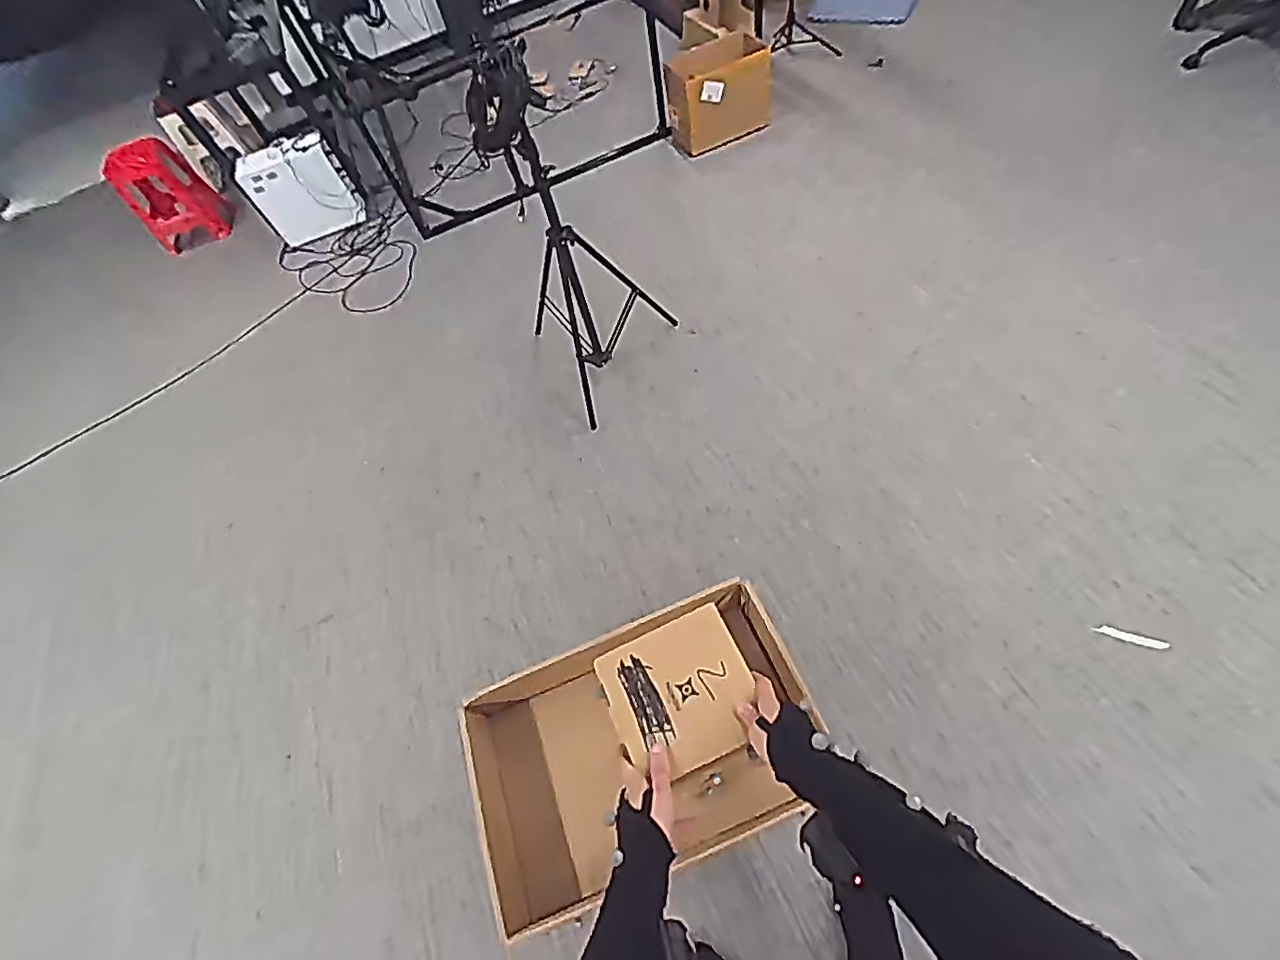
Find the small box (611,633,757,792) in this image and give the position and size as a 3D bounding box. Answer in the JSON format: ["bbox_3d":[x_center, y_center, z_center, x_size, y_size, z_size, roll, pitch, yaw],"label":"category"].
[{"bbox_3d":[0.073,0.376,0.865,0.168,0.176,0.179,-25,59,-2],"label":"small box"}]
